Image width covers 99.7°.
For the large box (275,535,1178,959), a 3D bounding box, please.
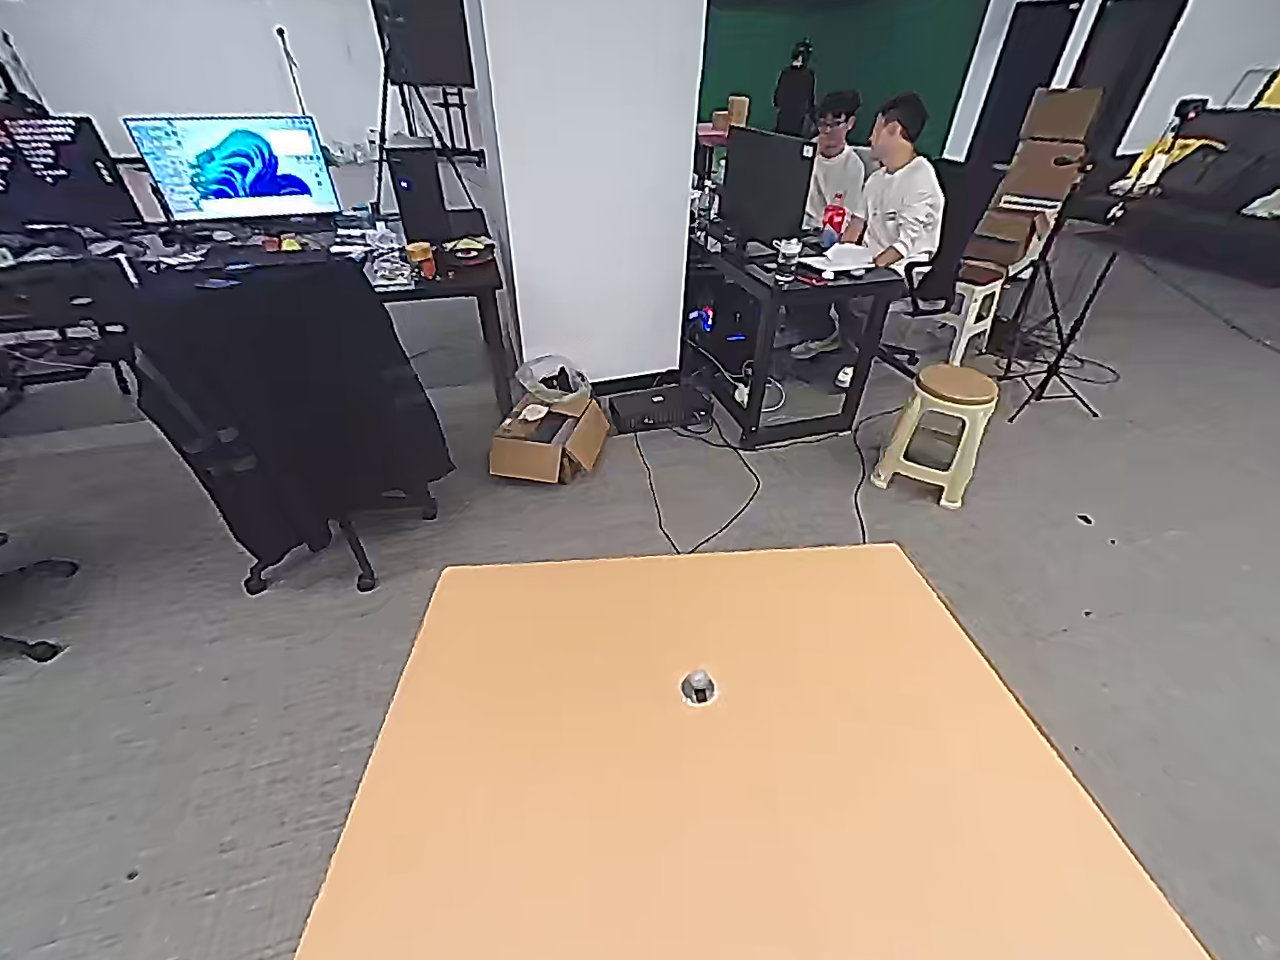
[{"bbox_3d":[0.029,0.269,0.426,0.408,0.320,0.320,-5,33,-2],"label":"large box"}]
